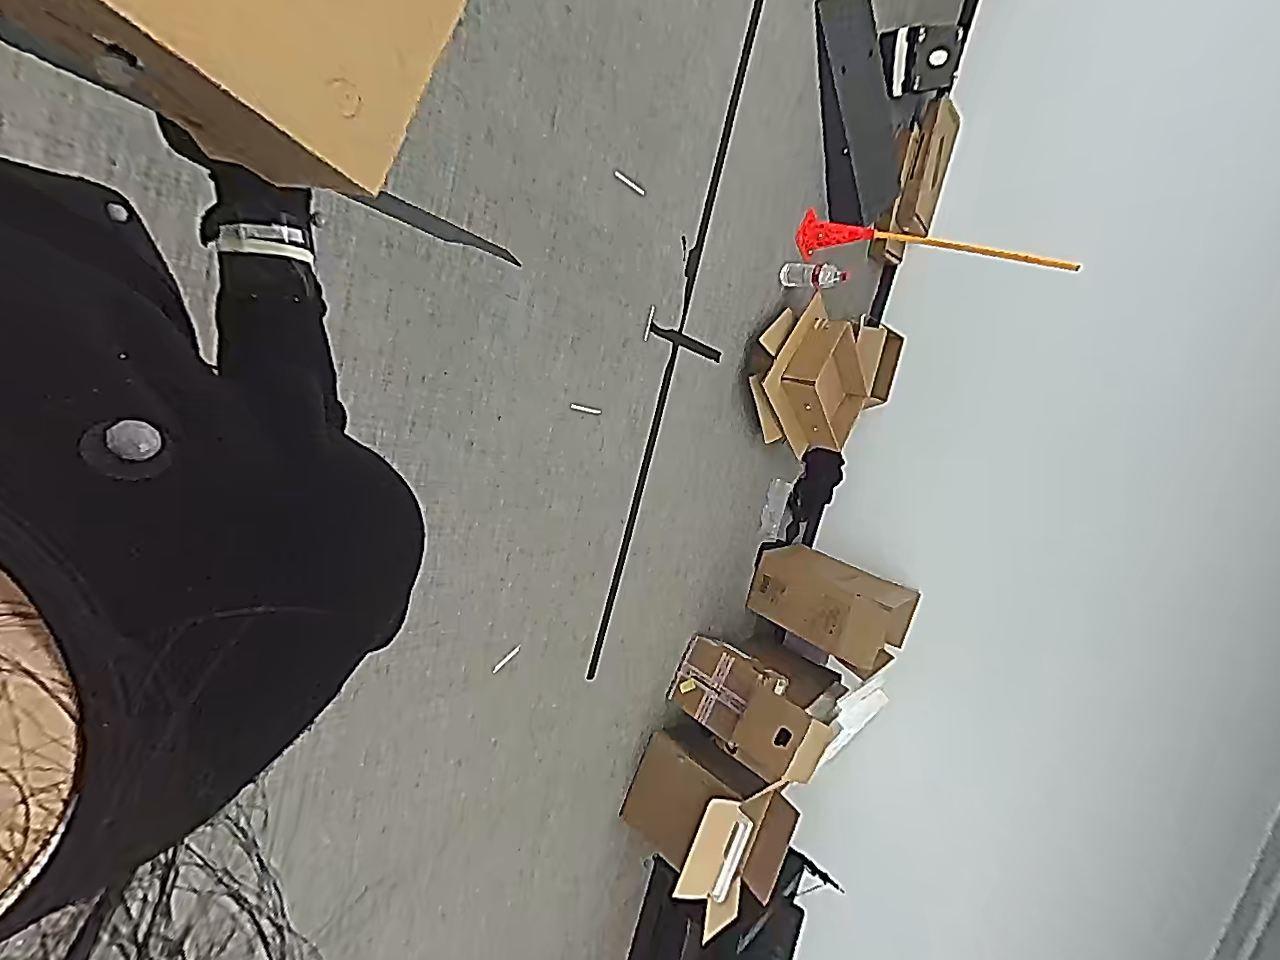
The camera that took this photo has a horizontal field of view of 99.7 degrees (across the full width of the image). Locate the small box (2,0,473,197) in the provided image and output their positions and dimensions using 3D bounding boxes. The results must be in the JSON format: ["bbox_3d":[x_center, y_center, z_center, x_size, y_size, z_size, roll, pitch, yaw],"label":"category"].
[{"bbox_3d":[-0.221,-0.289,0.302,0.168,0.176,0.179,24,90,-55],"label":"small box"}]
